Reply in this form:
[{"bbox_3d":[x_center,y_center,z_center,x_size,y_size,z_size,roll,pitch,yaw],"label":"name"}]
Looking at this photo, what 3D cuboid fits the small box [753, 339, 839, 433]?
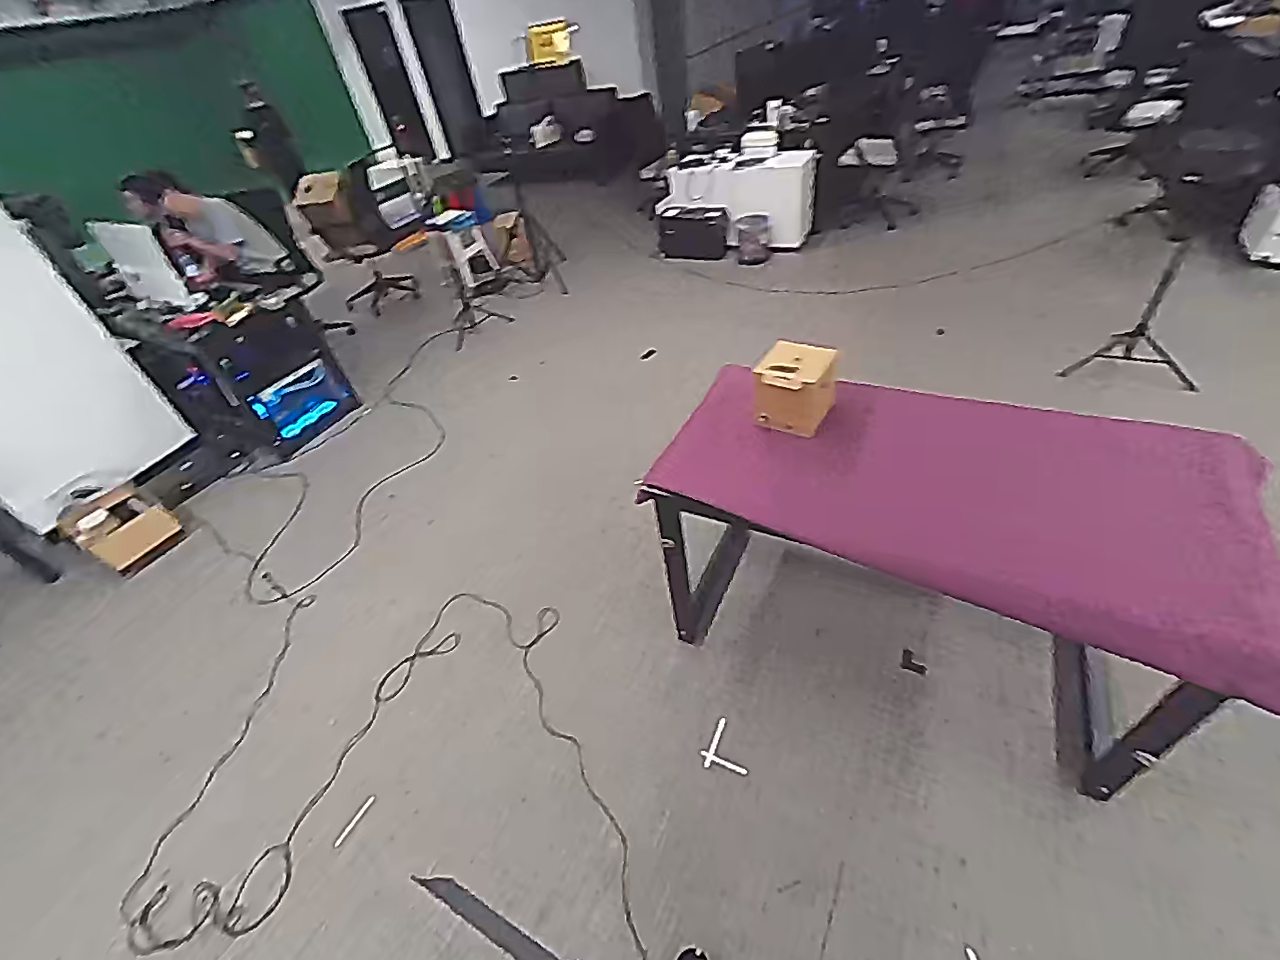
[{"bbox_3d":[0.415,-0.249,1.440,0.168,0.176,0.179,19,50,29],"label":"small box"}]
